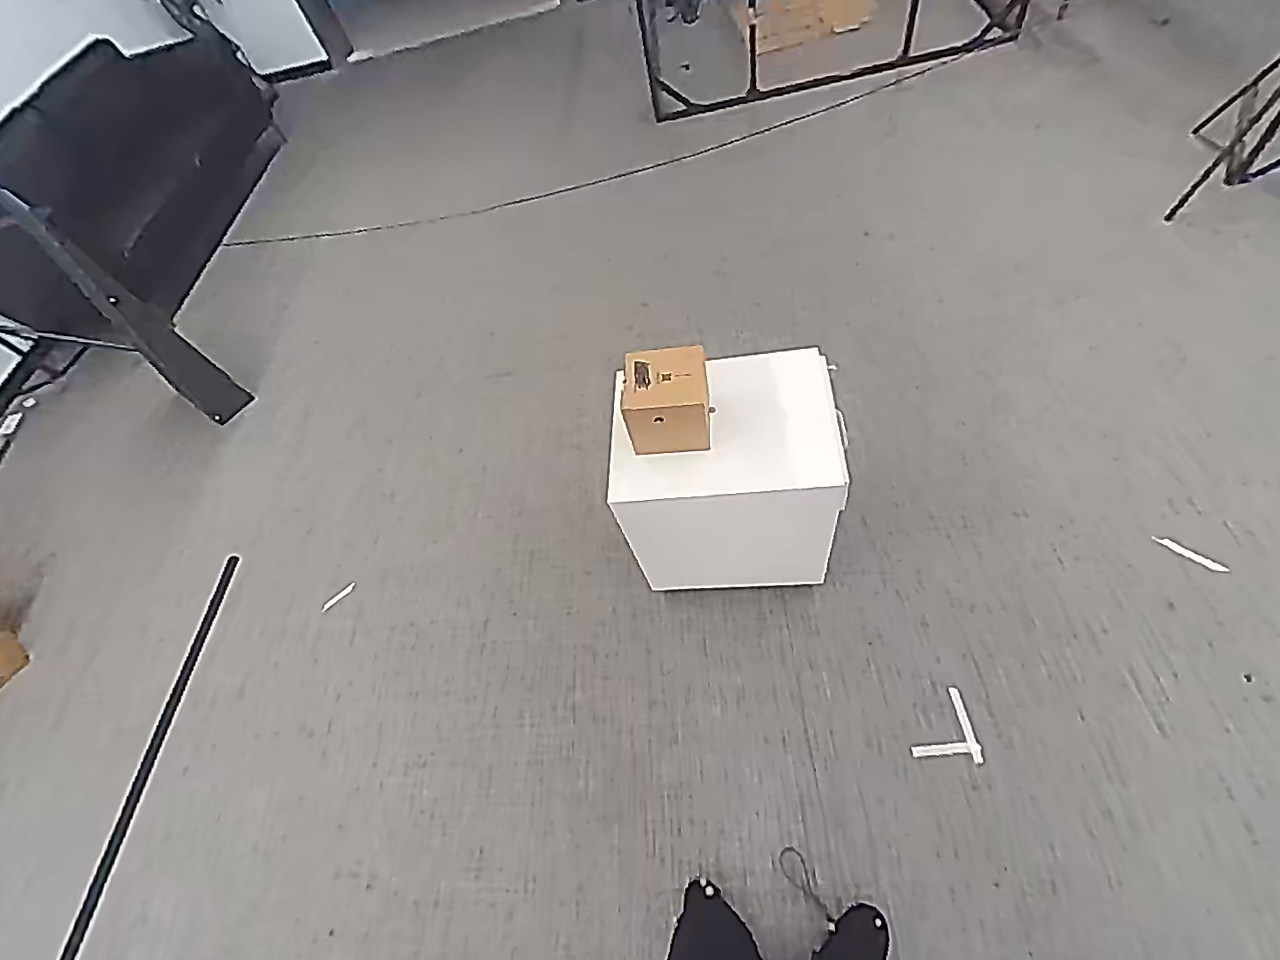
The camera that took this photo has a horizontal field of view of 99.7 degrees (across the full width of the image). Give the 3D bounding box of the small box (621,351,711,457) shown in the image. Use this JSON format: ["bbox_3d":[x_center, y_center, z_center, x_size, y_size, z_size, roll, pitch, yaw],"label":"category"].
[{"bbox_3d":[0.065,-0.165,1.215,0.179,0.176,0.168,-3,58,10],"label":"small box"}]
